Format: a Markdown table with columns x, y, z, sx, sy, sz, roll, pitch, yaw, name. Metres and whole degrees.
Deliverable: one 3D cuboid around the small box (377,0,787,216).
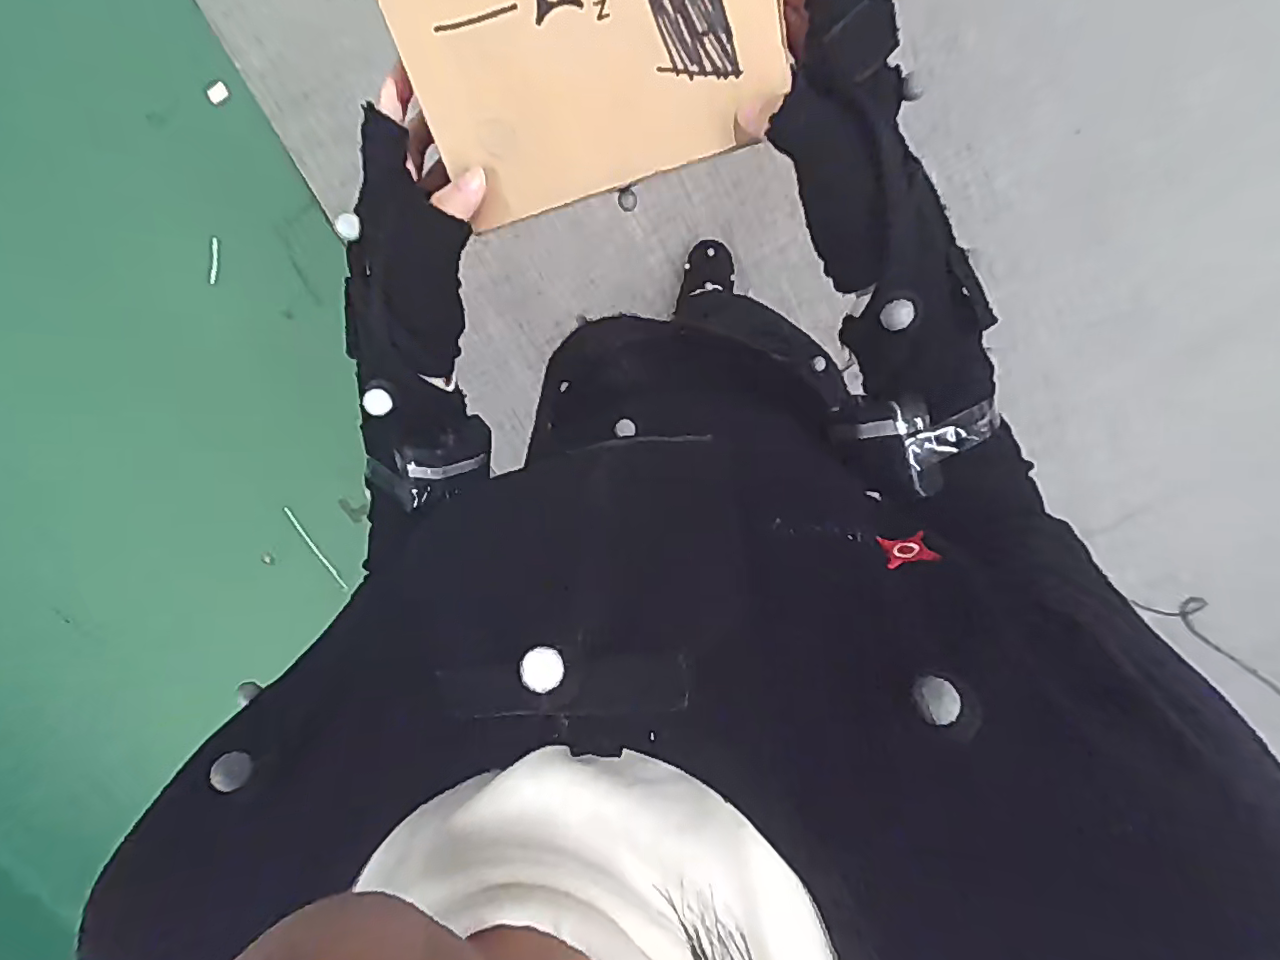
| x | y | z | sx | sy | sz | roll | pitch | yaw | name |
| --- | --- | --- | --- | --- | --- | --- | --- | --- | --- |
| -0.028 | -0.268 | 0.303 | 0.179 | 0.176 | 0.168 | -12 | 120 | 13 | small box |
